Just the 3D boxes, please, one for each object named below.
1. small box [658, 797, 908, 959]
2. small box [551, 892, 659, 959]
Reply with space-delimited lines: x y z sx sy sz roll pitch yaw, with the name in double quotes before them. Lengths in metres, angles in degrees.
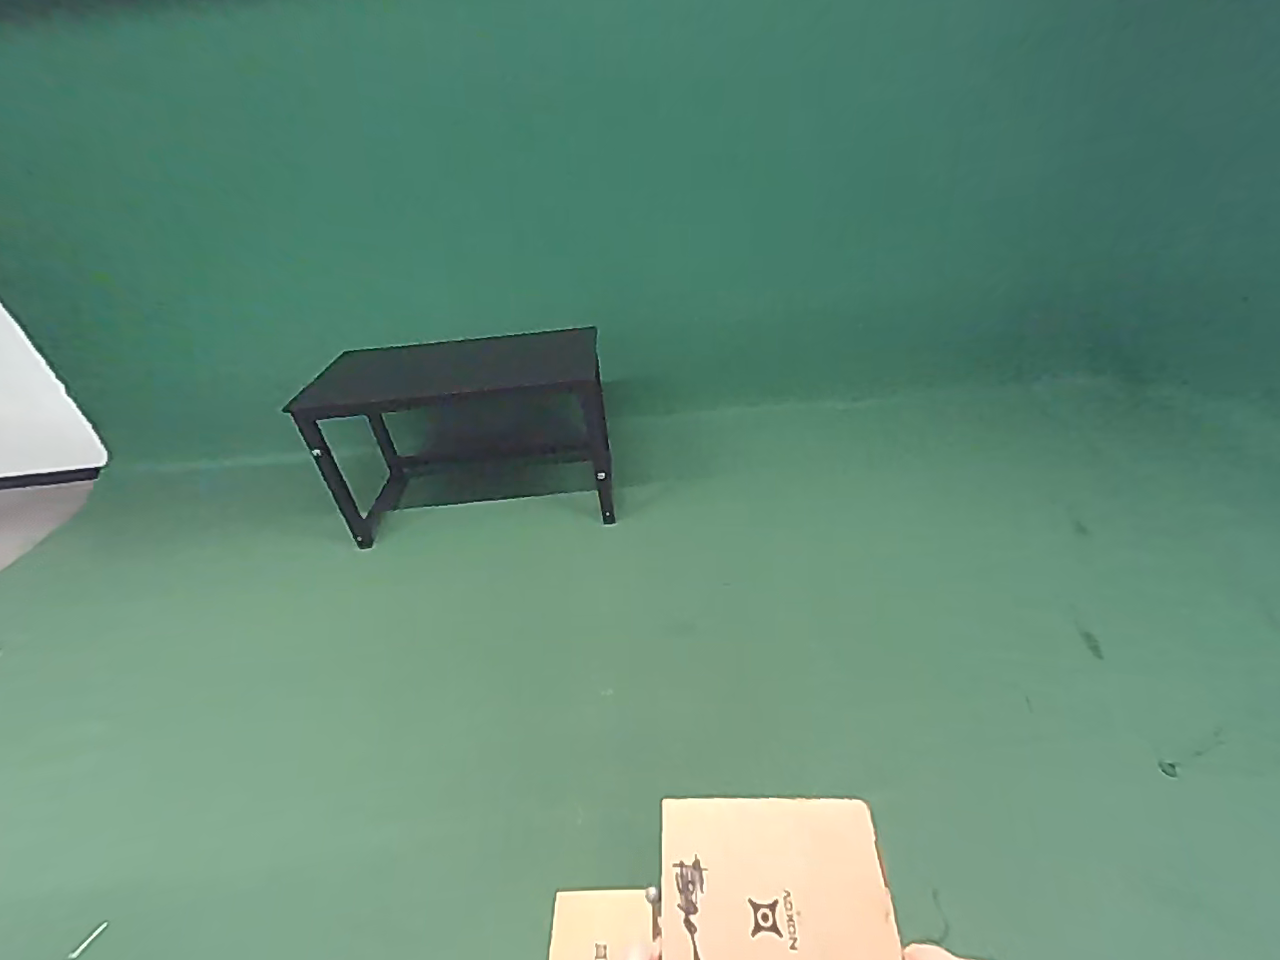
"small box" 0.107 0.383 0.446 0.179 0.176 0.168 -2 41 6
"small box" -0.052 0.805 0.875 0.168 0.176 0.179 -4 33 3
